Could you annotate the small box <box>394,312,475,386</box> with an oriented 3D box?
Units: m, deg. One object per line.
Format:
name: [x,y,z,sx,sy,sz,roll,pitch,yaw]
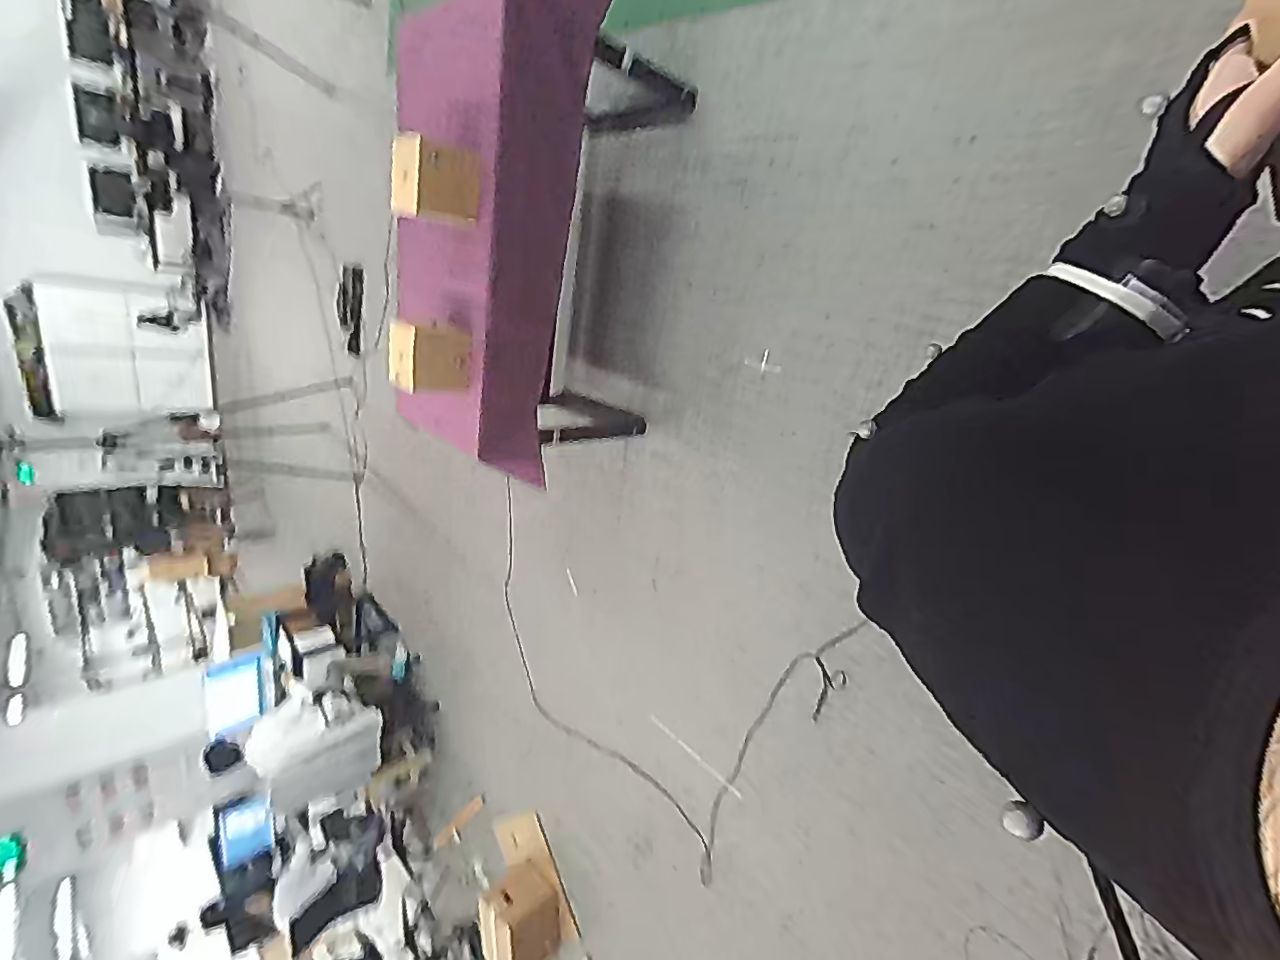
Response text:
small box: [-0.598,-0.380,1.578,0.168,0.176,0.179,28,115,40]

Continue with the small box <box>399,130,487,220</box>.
small box: [-0.523,-0.803,1.435,0.168,0.176,0.179,29,116,39]
